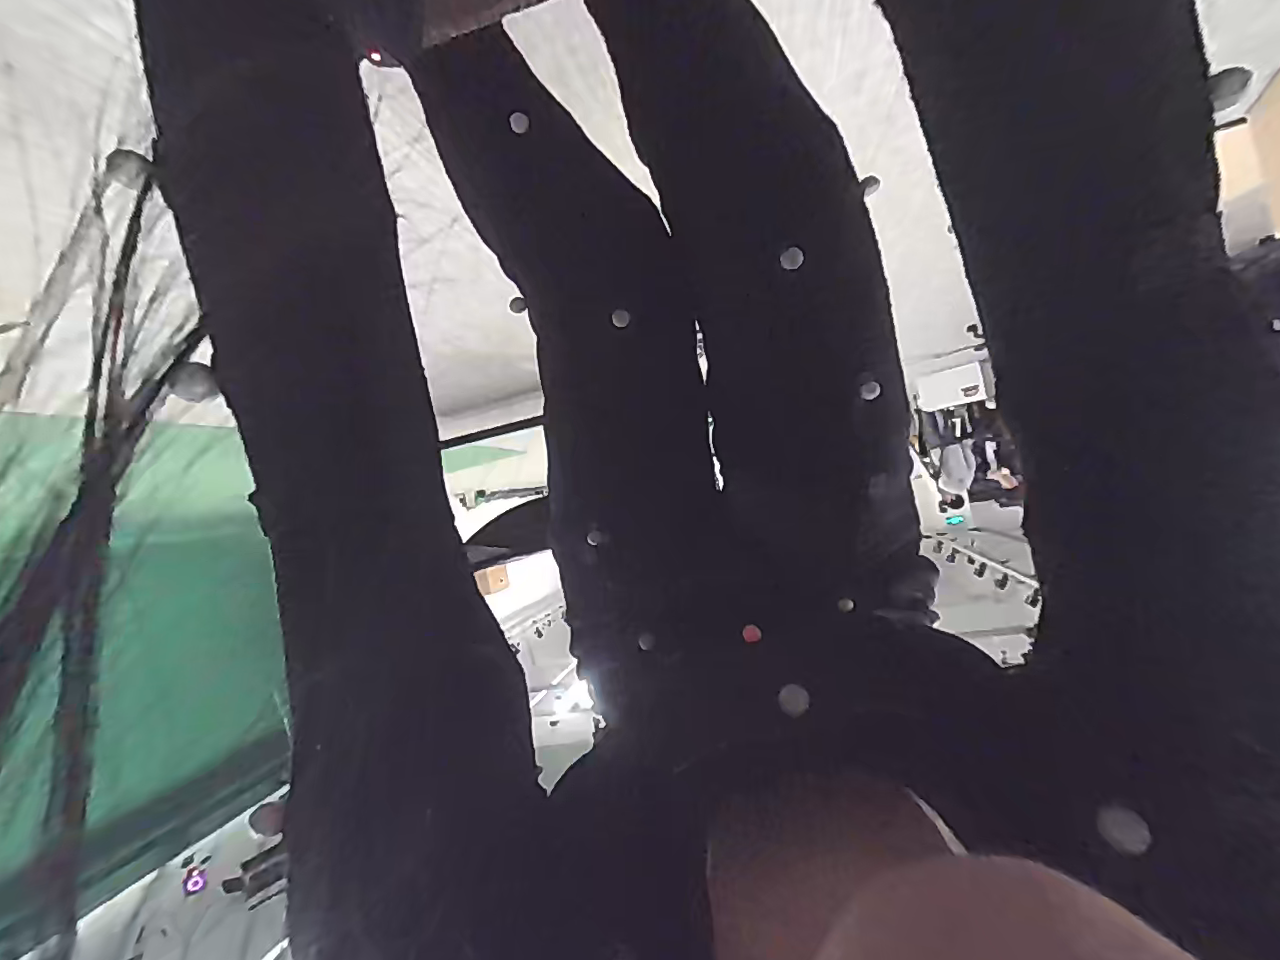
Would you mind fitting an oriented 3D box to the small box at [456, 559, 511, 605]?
[{"bbox_3d":[-0.732,0.473,2.527,0.168,0.176,0.179,-13,177,16],"label":"small box"}]
